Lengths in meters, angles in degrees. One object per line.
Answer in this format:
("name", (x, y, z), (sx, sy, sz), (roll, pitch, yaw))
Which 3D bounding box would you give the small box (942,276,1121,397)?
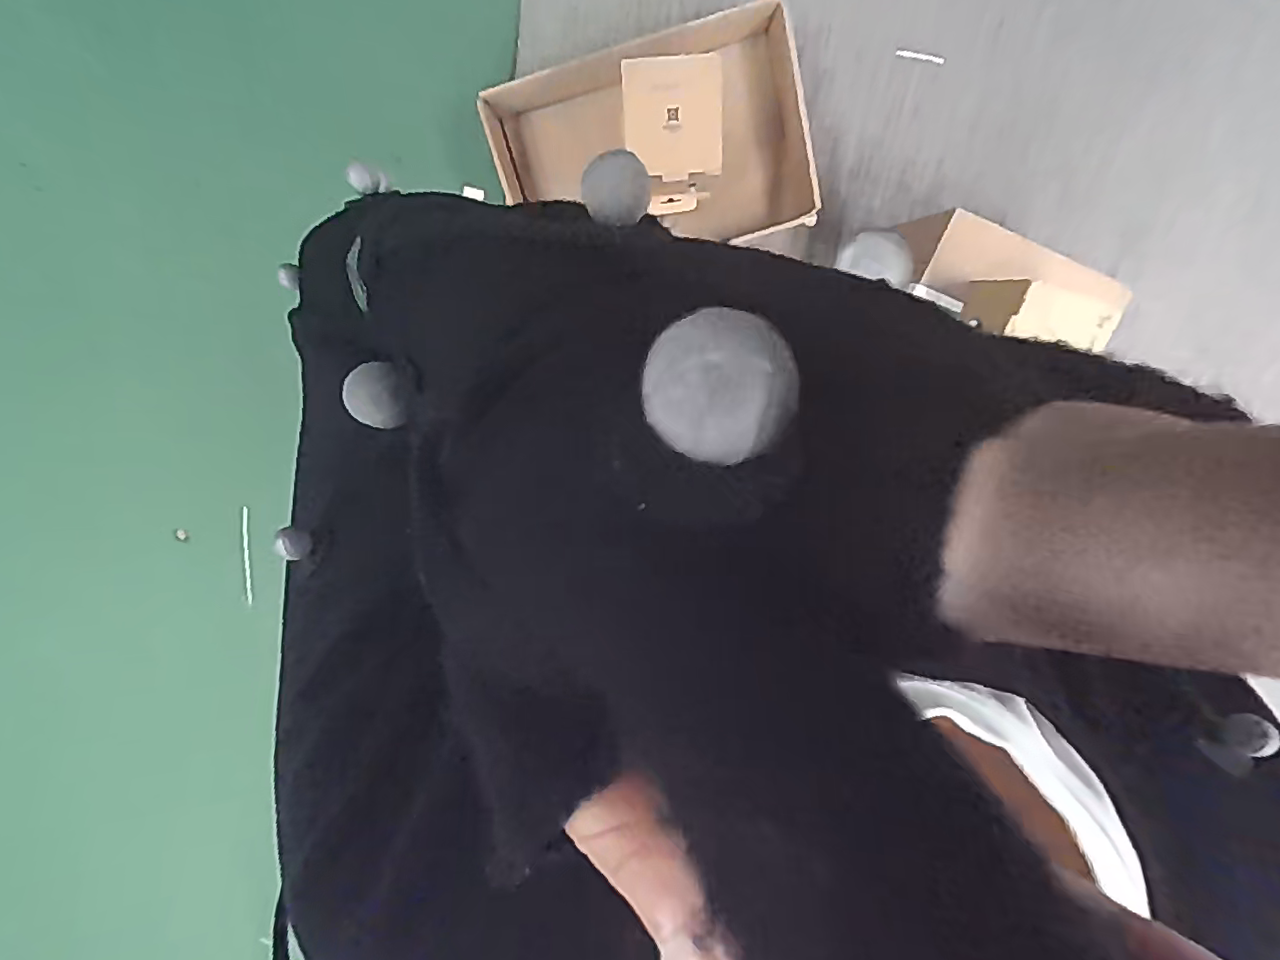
("small box", (0.703, -0.267, 0.999), (0.179, 0.176, 0.168), (15, 109, -5))

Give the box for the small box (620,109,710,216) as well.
("small box", (0.053, -0.664, 1.135), (0.168, 0.176, 0.179), (-7, 107, 3))

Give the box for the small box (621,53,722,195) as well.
("small box", (0.055, -0.628, 0.977), (0.168, 0.176, 0.179), (-4, 106, 1))
